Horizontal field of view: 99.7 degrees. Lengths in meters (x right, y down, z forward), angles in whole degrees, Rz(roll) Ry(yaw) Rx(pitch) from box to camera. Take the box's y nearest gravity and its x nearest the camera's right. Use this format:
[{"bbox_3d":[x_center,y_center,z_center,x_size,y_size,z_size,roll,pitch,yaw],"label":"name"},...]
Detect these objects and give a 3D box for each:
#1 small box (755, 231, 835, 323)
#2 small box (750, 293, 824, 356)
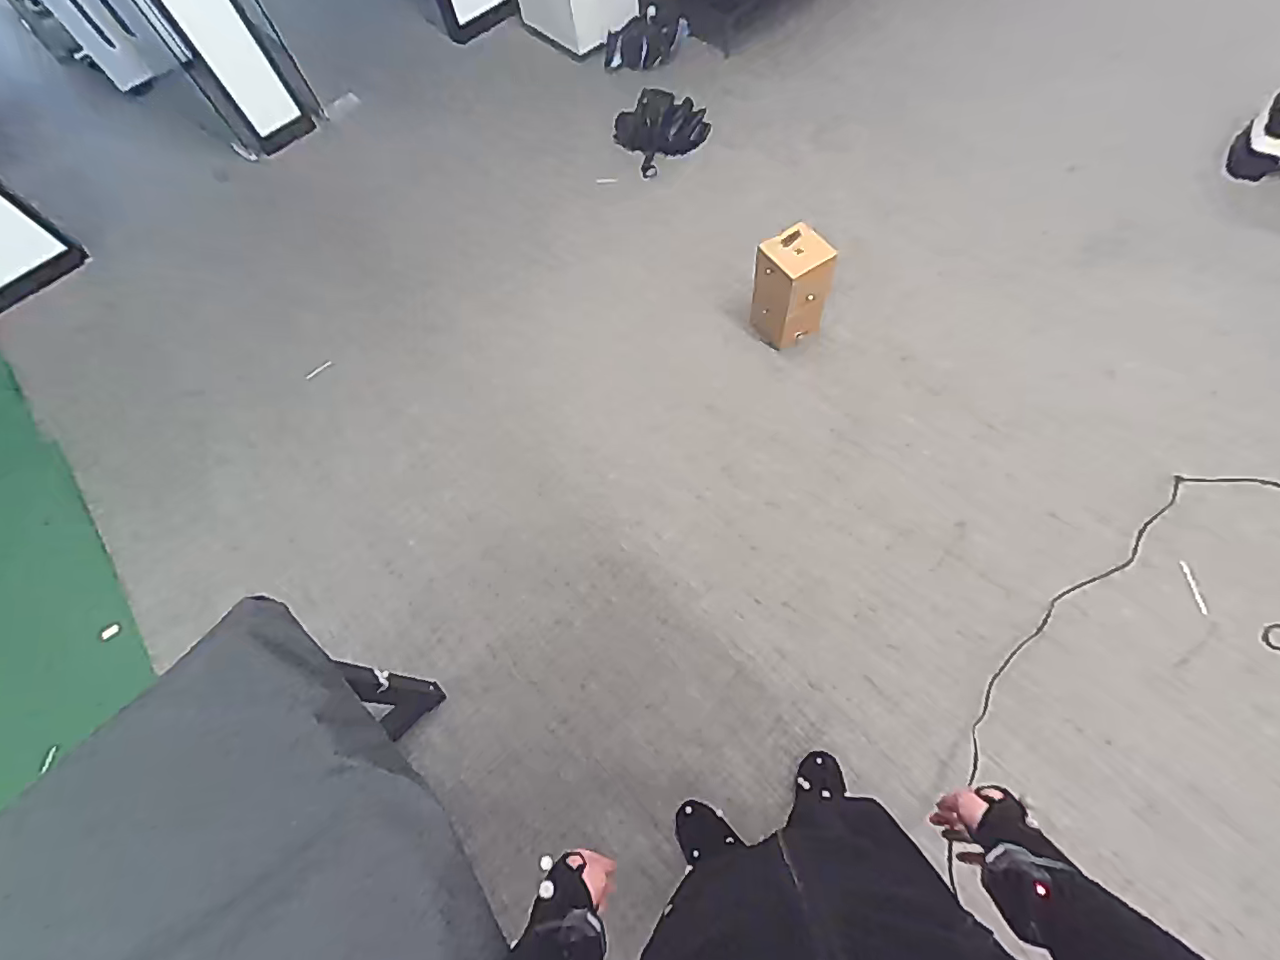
[{"bbox_3d":[0.476,-0.631,1.695,0.168,0.176,0.179,-30,65,-7],"label":"small box"},{"bbox_3d":[0.492,-0.559,1.842,0.168,0.176,0.179,-32,66,-8],"label":"small box"}]
